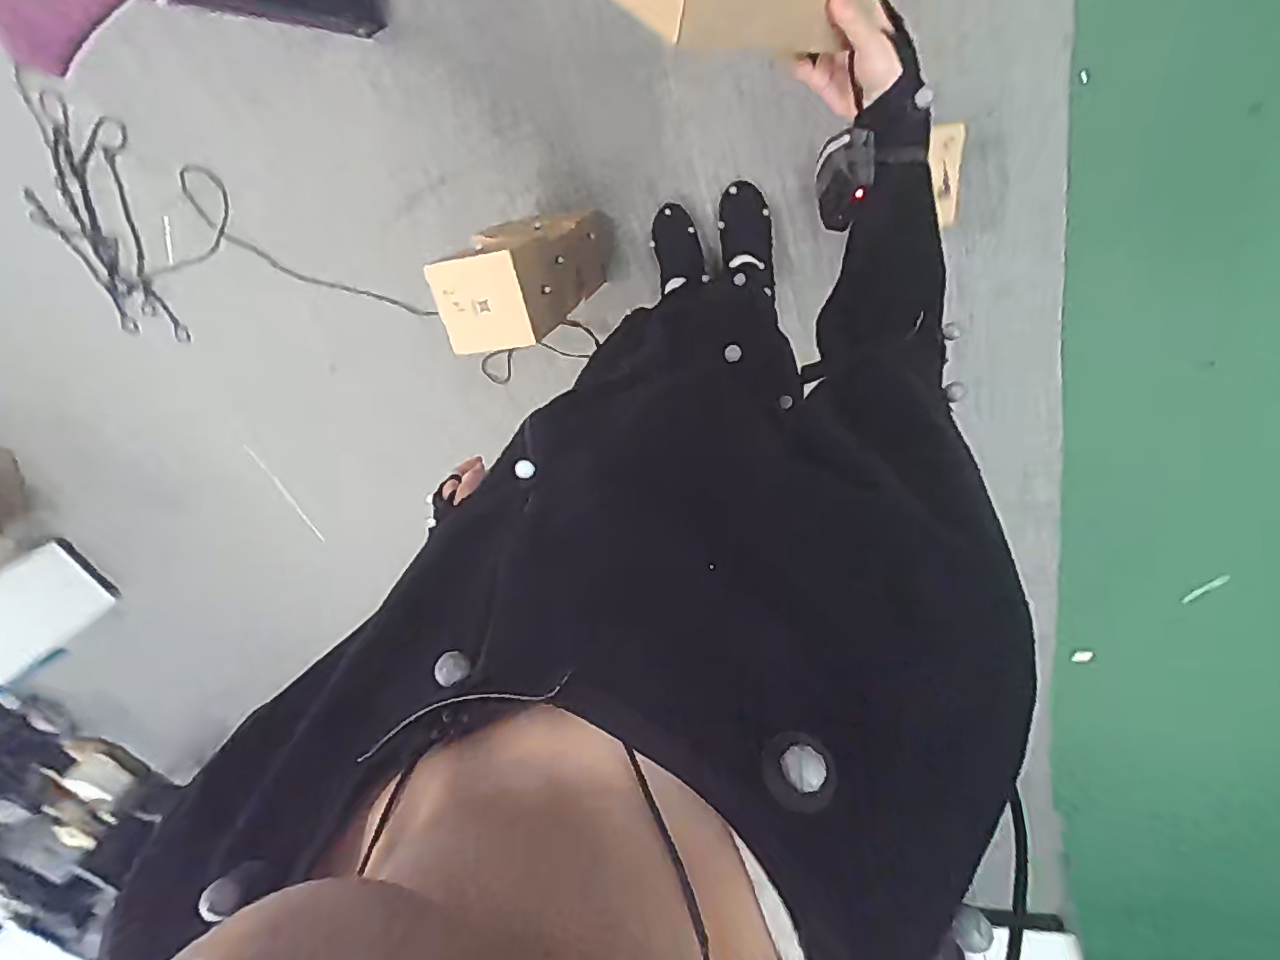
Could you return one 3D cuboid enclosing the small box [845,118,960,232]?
[{"bbox_3d":[0.501,-0.598,1.062,0.179,0.176,0.168,-1,124,16],"label":"small box"}]

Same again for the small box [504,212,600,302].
[{"bbox_3d":[-0.200,-0.533,1.285,0.168,0.176,0.179,4,125,13],"label":"small box"}]

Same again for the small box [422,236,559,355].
[{"bbox_3d":[-0.267,-0.352,1.022,0.179,0.176,0.168,-2,122,17],"label":"small box"}]
